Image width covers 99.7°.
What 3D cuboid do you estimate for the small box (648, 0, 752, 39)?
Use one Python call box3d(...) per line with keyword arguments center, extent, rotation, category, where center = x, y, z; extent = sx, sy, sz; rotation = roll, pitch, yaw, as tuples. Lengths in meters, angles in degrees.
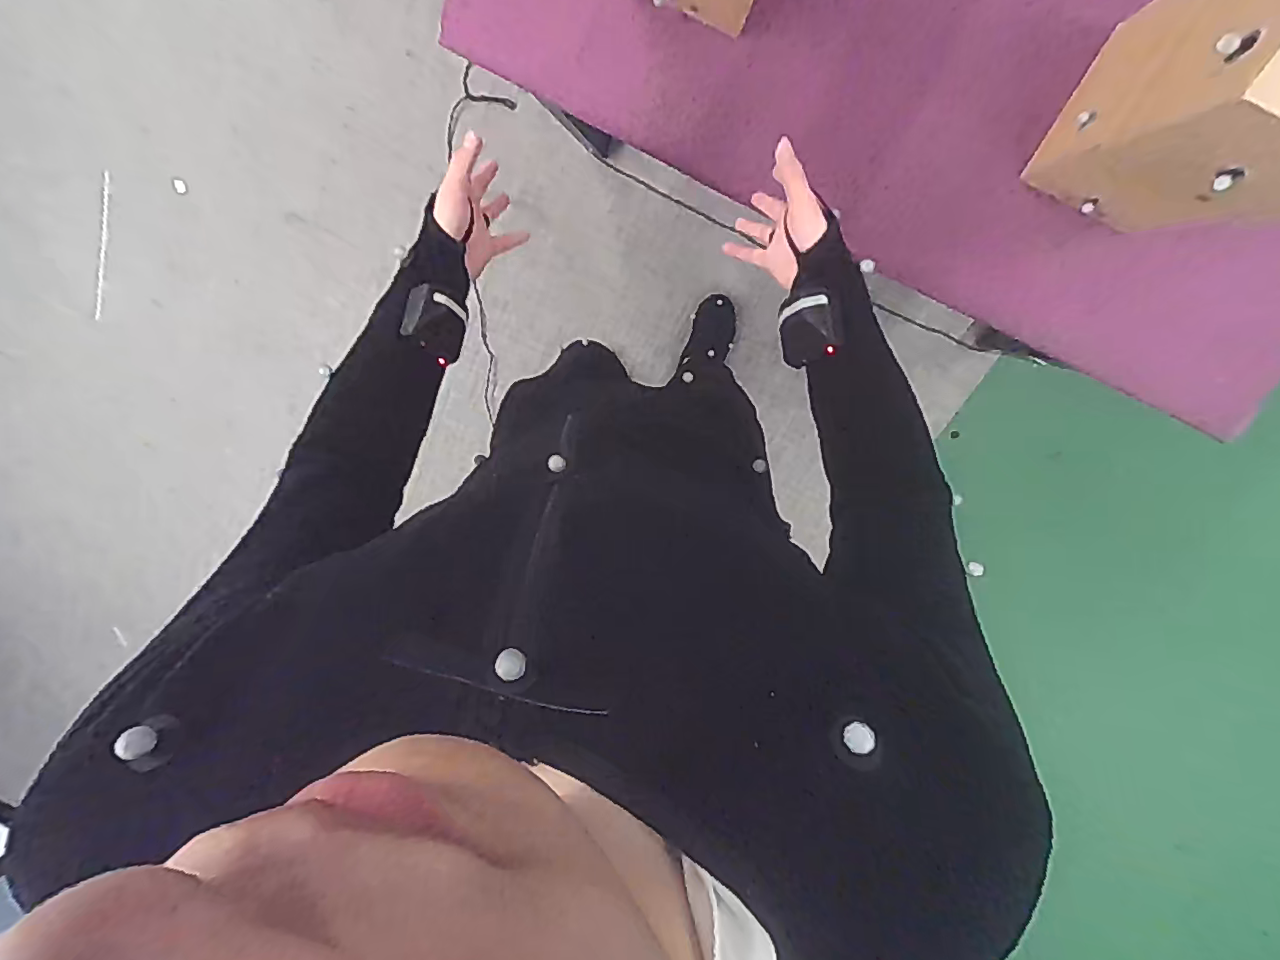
box3d(center=(0.071, -0.632, 0.575), extent=(0.168, 0.176, 0.179), rotation=(26, 111, 0), category="small box")
